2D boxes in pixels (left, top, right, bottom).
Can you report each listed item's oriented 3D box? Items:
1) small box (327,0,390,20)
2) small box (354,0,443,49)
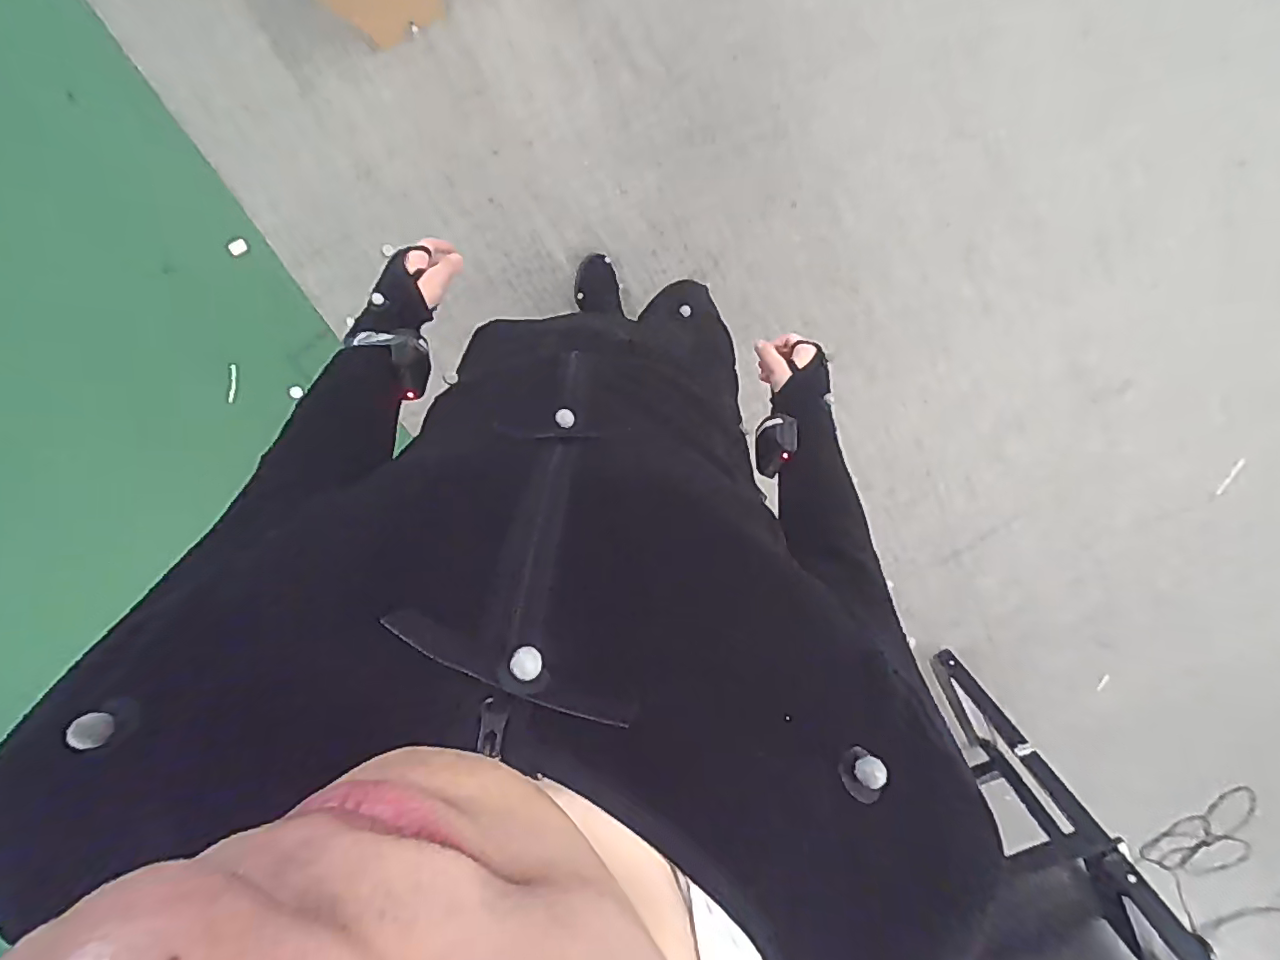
[{"bbox_3d":[-0.538,-0.990,0.979,0.179,0.176,0.168,-24,112,7],"label":"small box"},{"bbox_3d":[-0.537,-1.057,1.130,0.179,0.176,0.168,-25,111,7],"label":"small box"}]
